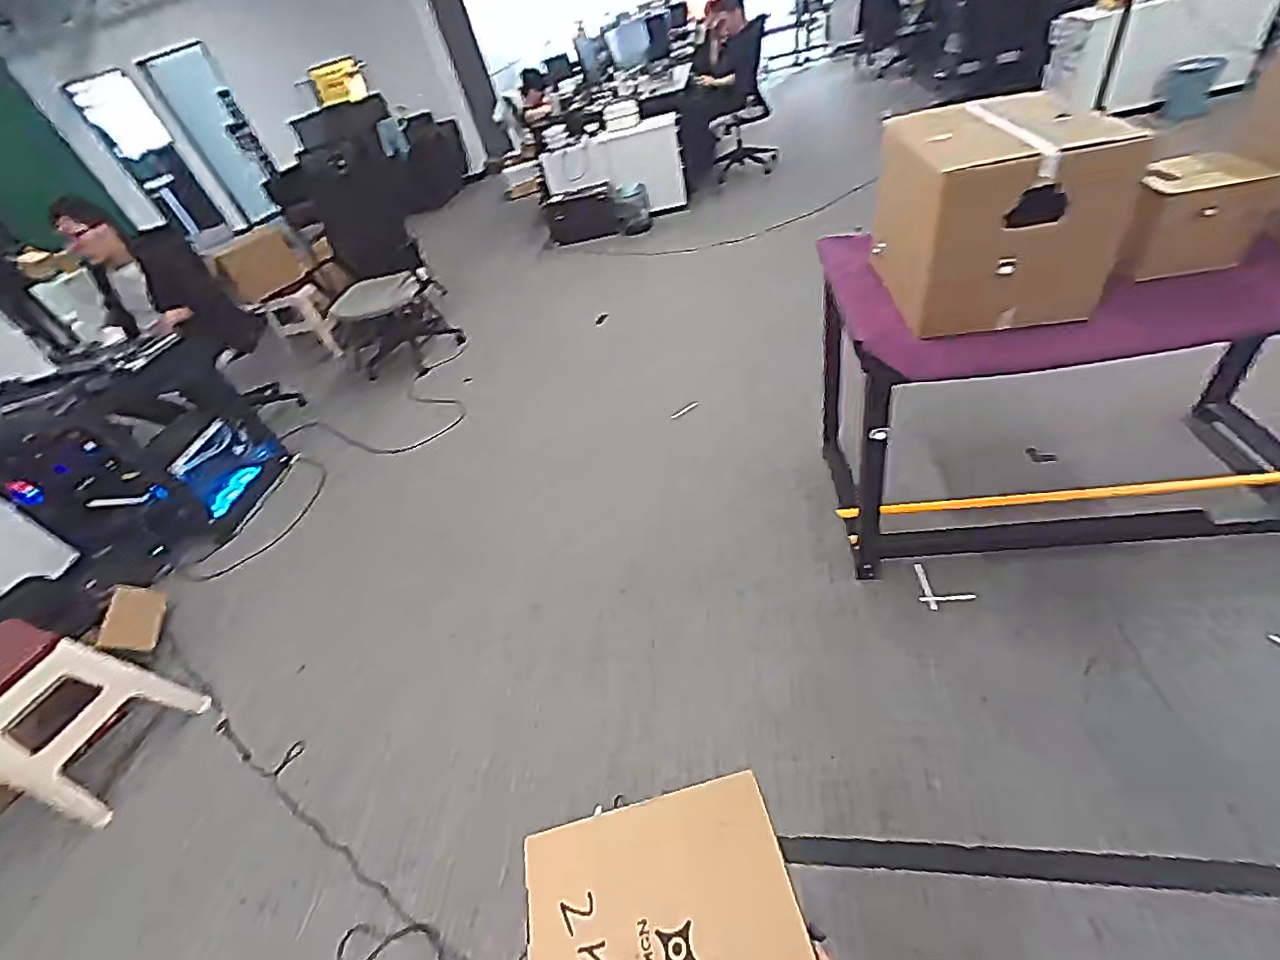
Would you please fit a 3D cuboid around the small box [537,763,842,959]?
[{"bbox_3d":[0.041,0.331,0.382,0.179,0.176,0.168,-17,44,1],"label":"small box"}]

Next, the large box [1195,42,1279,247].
[{"bbox_3d":[1.358,-0.609,0.962,0.320,0.320,0.408,-6,41,11],"label":"large box"}]
